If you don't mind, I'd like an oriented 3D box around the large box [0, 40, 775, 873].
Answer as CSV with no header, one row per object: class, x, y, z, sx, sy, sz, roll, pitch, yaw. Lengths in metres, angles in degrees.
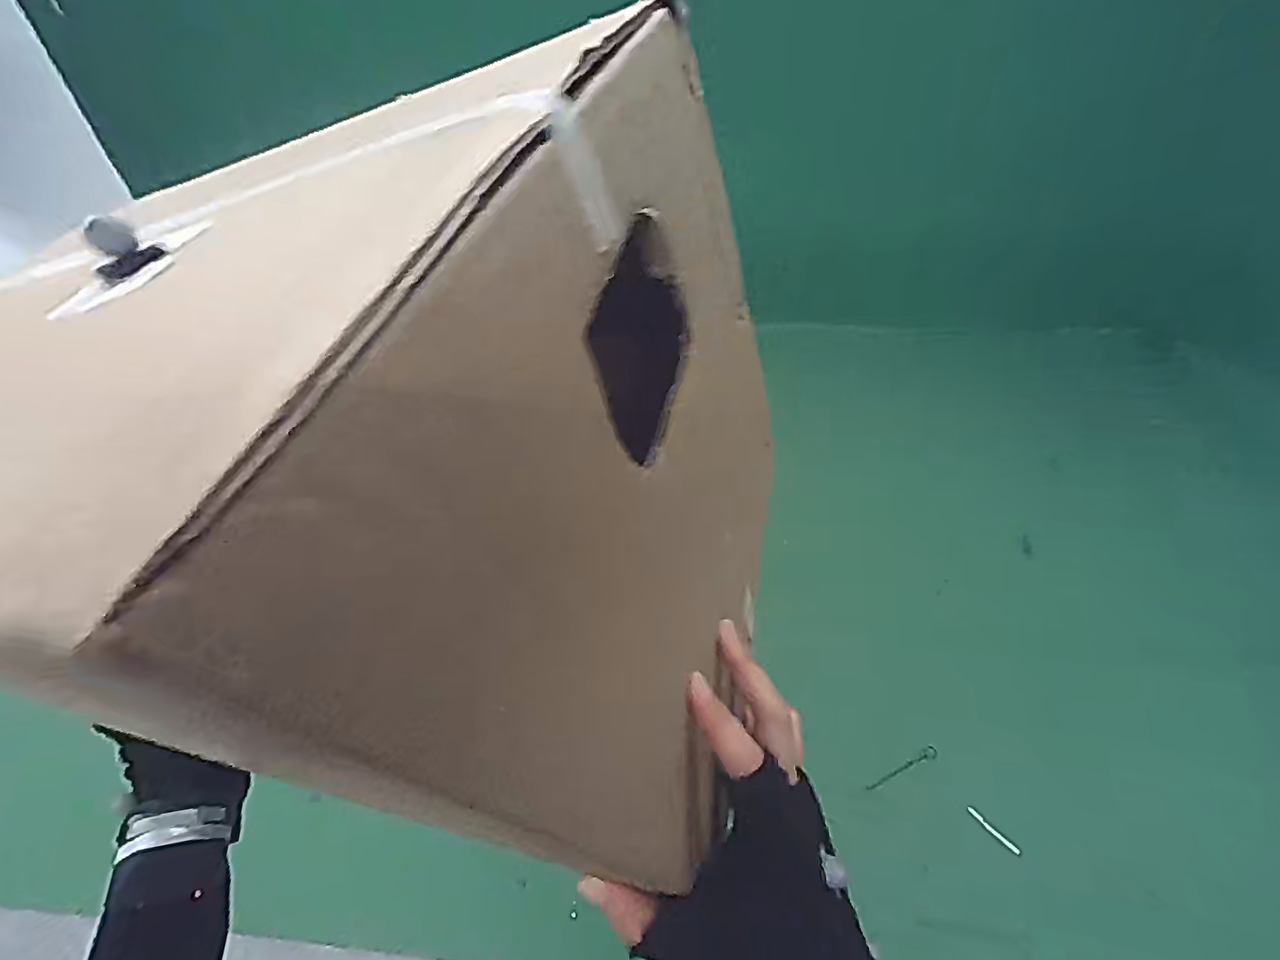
large box,-0.144,0.004,0.346,0.408,0.320,0.320,-1,50,22
